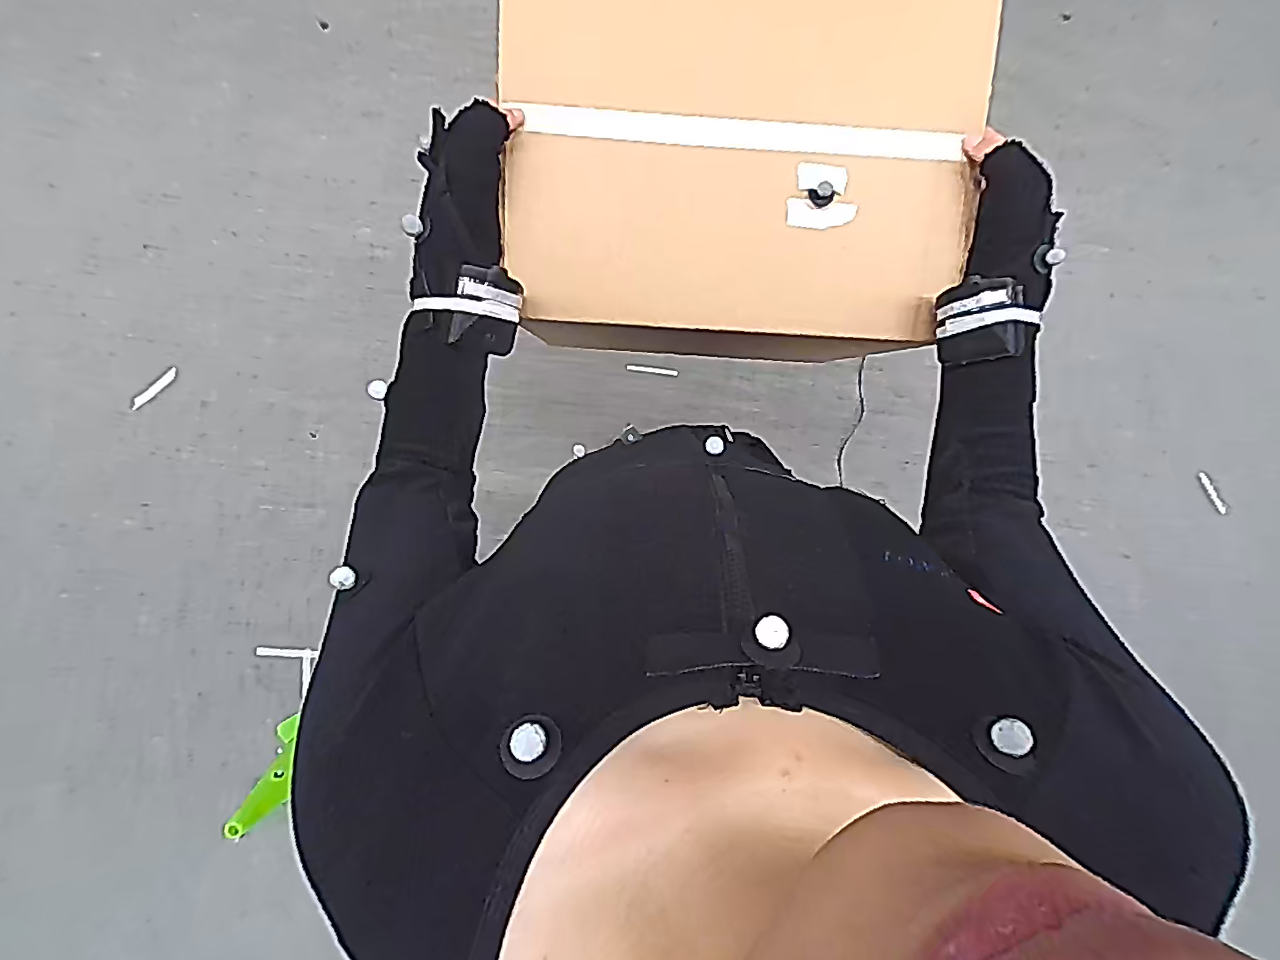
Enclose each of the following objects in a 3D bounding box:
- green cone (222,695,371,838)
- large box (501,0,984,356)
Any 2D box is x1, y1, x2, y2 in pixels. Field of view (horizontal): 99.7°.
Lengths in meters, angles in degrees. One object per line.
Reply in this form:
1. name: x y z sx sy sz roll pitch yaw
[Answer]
1. green cone: -0.886 0.739 1.351 0.202 0.368 0.200 -31 94 3
2. large box: 0.075 -0.312 0.602 0.408 0.320 0.320 2 99 -3
